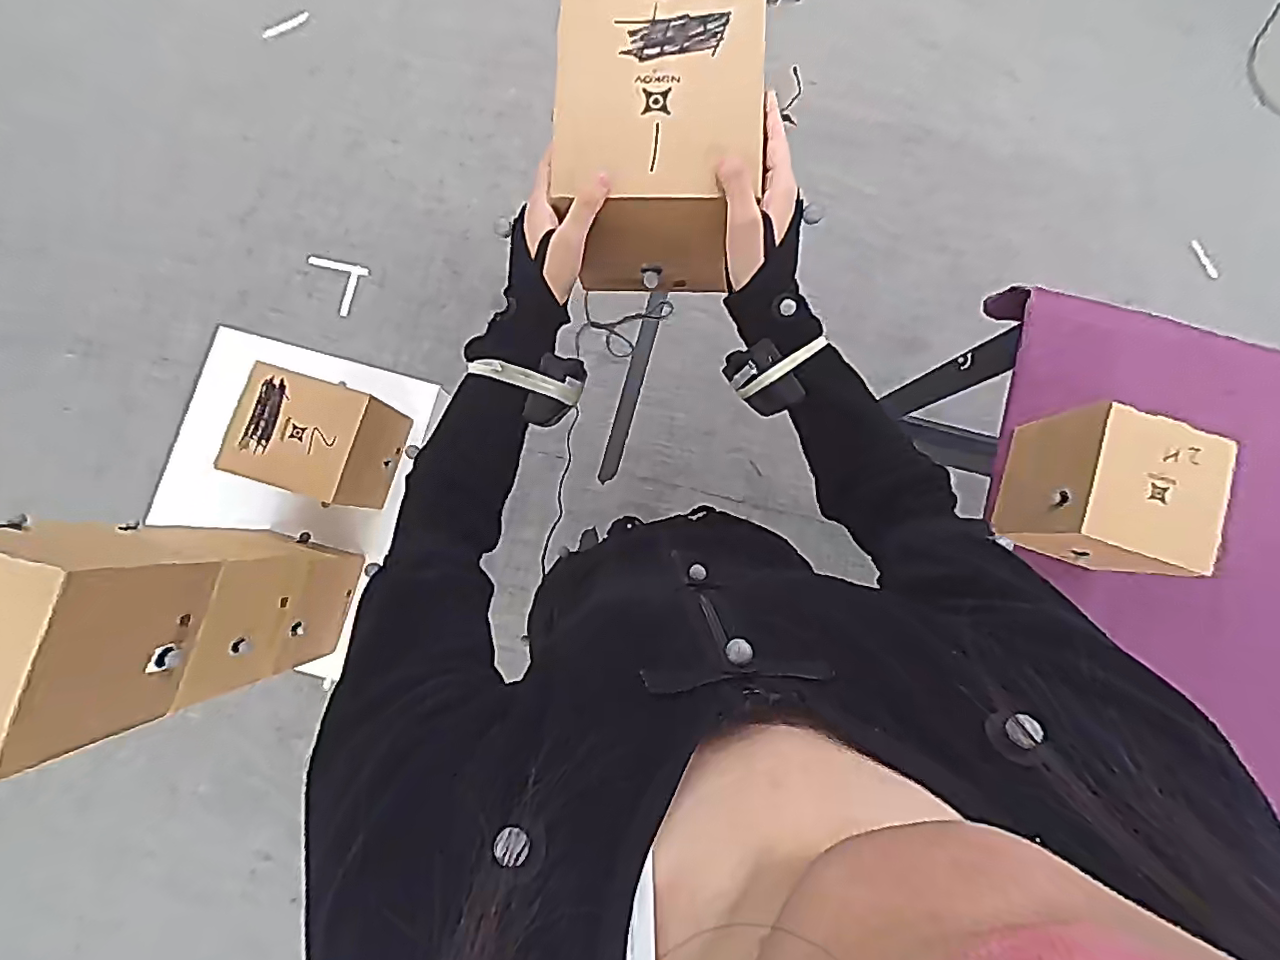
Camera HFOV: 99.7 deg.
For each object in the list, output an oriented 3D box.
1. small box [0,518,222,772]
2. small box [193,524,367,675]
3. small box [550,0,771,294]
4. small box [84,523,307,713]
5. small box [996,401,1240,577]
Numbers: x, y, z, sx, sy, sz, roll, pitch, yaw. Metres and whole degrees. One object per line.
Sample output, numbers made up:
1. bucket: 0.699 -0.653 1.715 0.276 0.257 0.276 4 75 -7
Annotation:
1. small box: -0.540 0.131 0.486 0.179 0.176 0.168 14 84 -1
2. small box: -0.551 0.170 0.808 0.179 0.176 0.168 16 84 1
3. small box: 0.020 -0.292 0.496 0.168 0.176 0.179 2 85 4
4. small box: -0.544 0.151 0.647 0.179 0.176 0.168 14 83 0
5. small box: 0.627 0.018 0.732 0.168 0.176 0.179 19 83 0
